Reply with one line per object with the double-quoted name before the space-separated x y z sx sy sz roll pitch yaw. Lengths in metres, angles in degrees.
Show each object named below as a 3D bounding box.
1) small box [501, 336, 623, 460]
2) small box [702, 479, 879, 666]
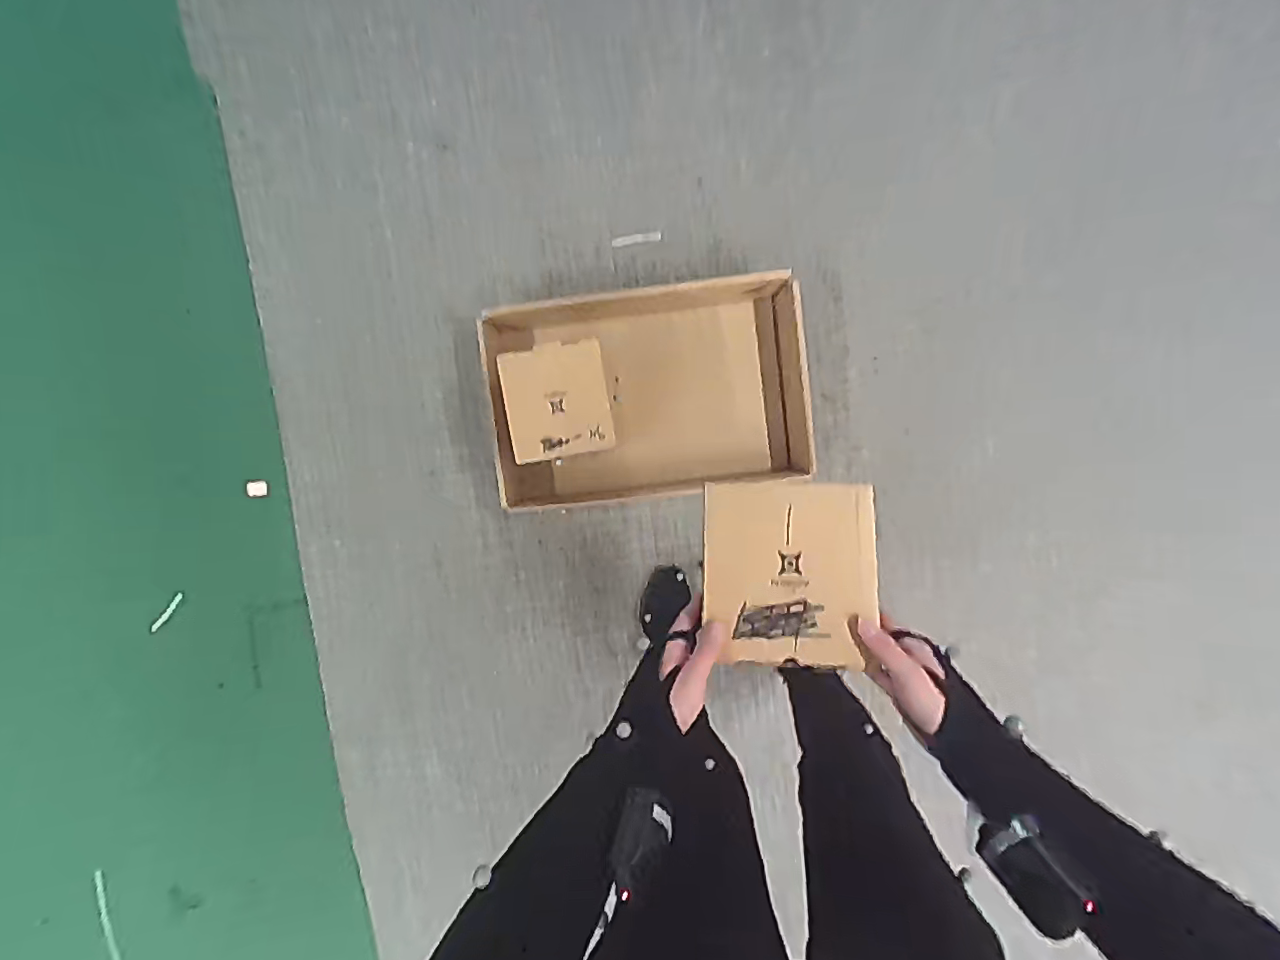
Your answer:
"small box" -0.125 -0.132 0.922 0.168 0.176 0.179 -9 94 2
"small box" 0.155 0.100 0.603 0.168 0.176 0.179 1 79 6
